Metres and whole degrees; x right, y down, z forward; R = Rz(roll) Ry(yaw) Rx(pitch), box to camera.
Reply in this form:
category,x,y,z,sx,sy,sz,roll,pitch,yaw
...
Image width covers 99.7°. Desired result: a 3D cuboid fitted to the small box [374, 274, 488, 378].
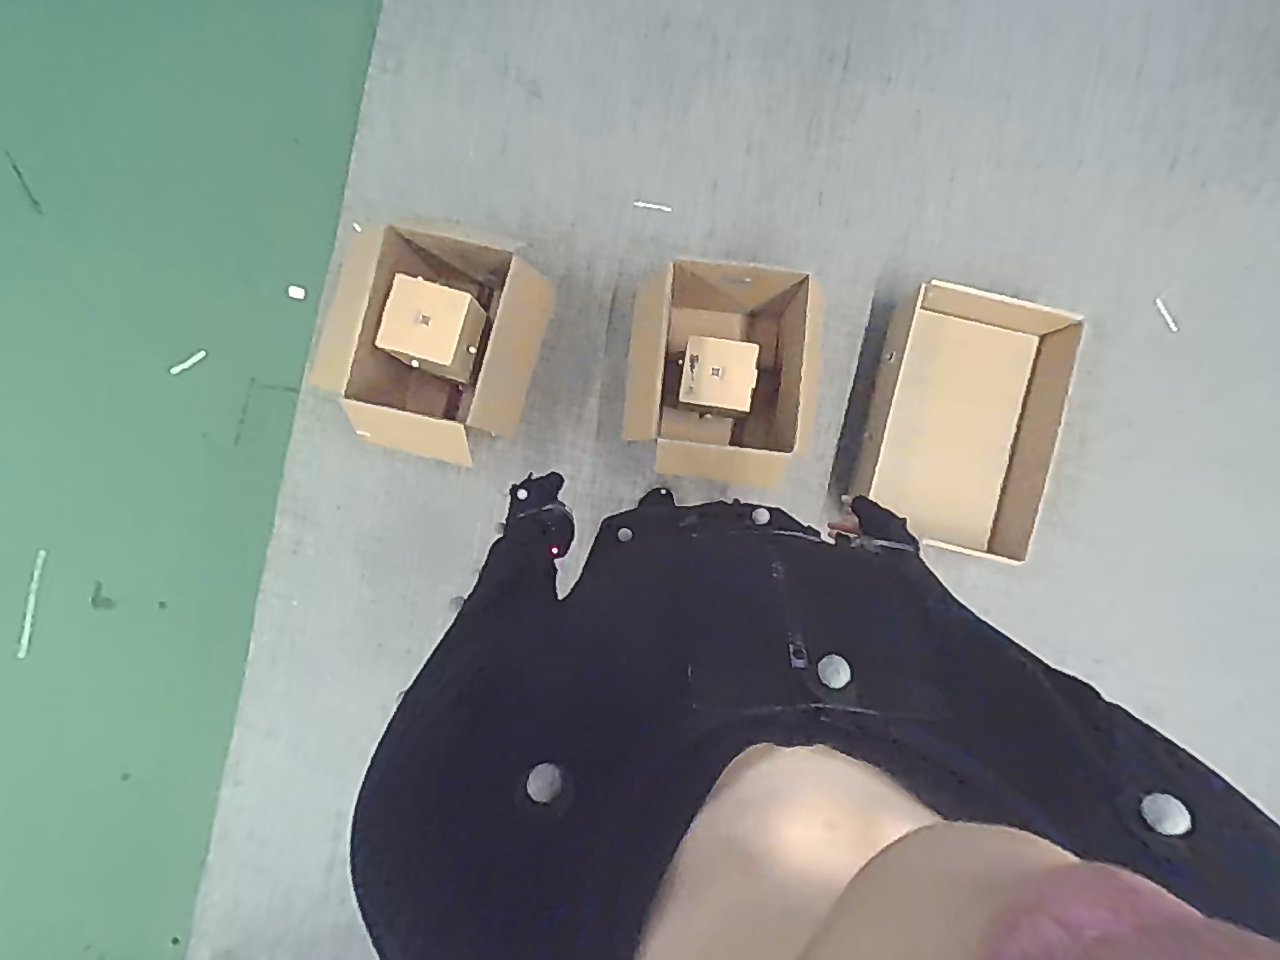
category,x,y,z,sx,sy,sz,roll,pitch,yaw
small box,-0.470,-0.346,1.249,0.179,0.176,0.168,16,88,1
